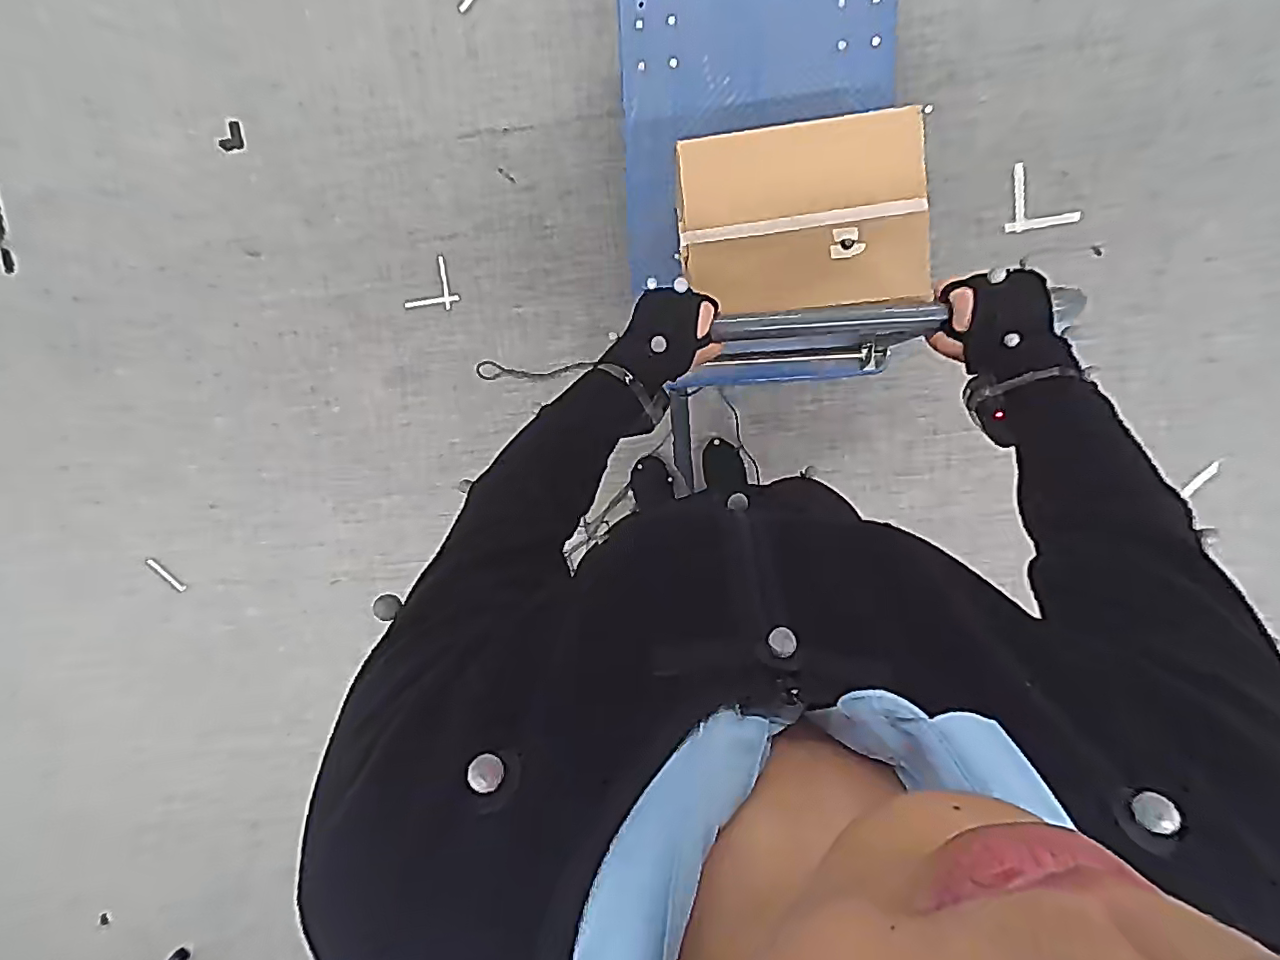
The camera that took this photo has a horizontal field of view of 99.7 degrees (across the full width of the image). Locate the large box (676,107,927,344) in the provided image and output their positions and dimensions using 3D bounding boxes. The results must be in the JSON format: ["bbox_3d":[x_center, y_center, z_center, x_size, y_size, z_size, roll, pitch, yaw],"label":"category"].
[{"bbox_3d":[0.290,-0.468,1.078,0.408,0.320,0.320,-7,99,4],"label":"large box"}]
